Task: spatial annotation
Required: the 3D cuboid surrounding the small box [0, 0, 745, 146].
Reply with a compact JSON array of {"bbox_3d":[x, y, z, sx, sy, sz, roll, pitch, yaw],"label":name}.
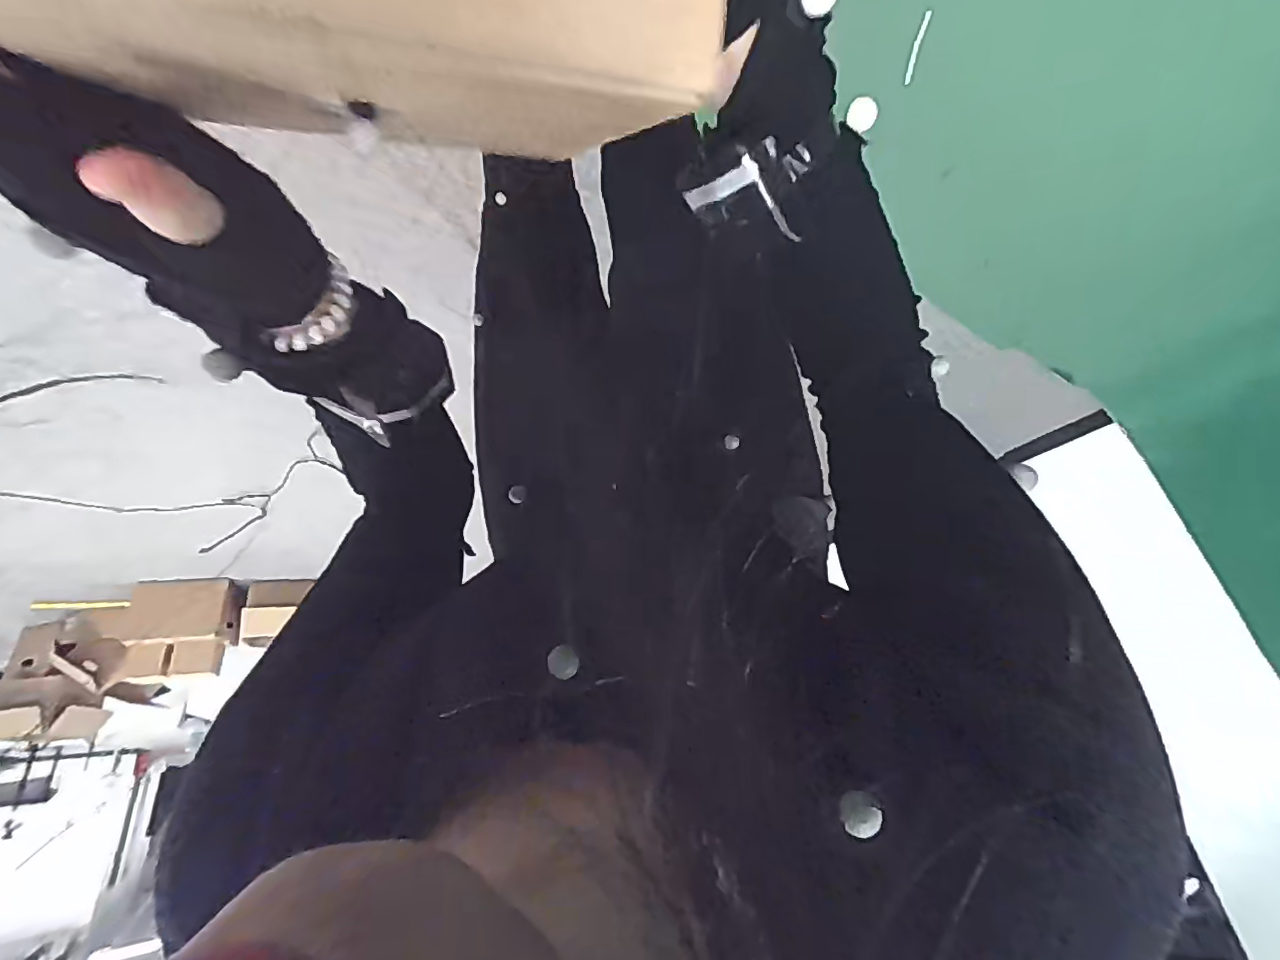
[{"bbox_3d":[-0.078,-0.203,0.161,0.179,0.176,0.168,-8,120,-19],"label":"small box"}]
